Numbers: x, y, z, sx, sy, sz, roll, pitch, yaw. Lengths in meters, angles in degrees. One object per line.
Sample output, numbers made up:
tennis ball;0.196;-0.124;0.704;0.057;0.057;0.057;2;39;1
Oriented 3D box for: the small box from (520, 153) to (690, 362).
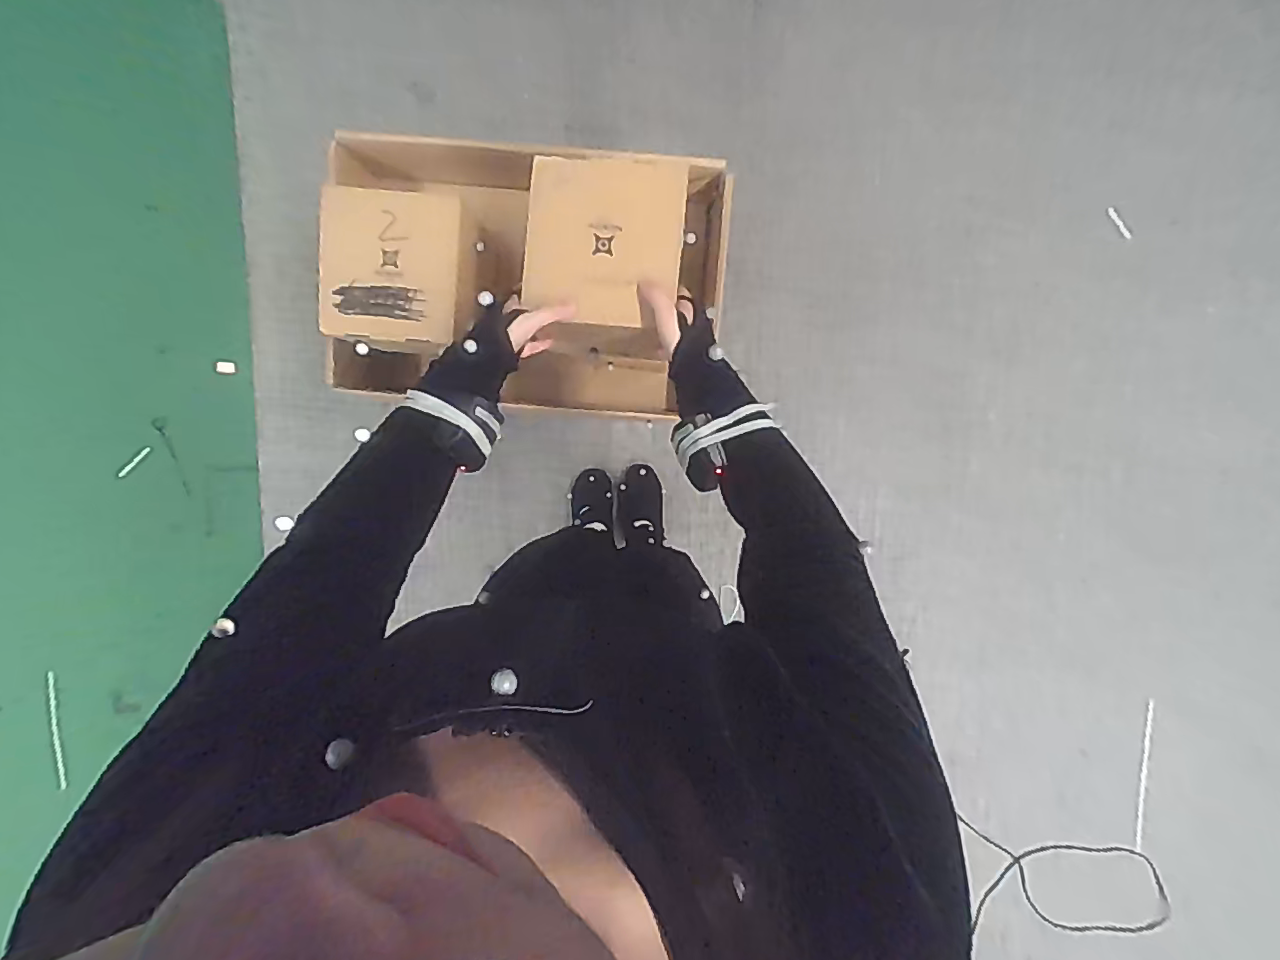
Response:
small box;-0.036;-0.253;0.650;0.168;0.176;0.179;6;91;2
